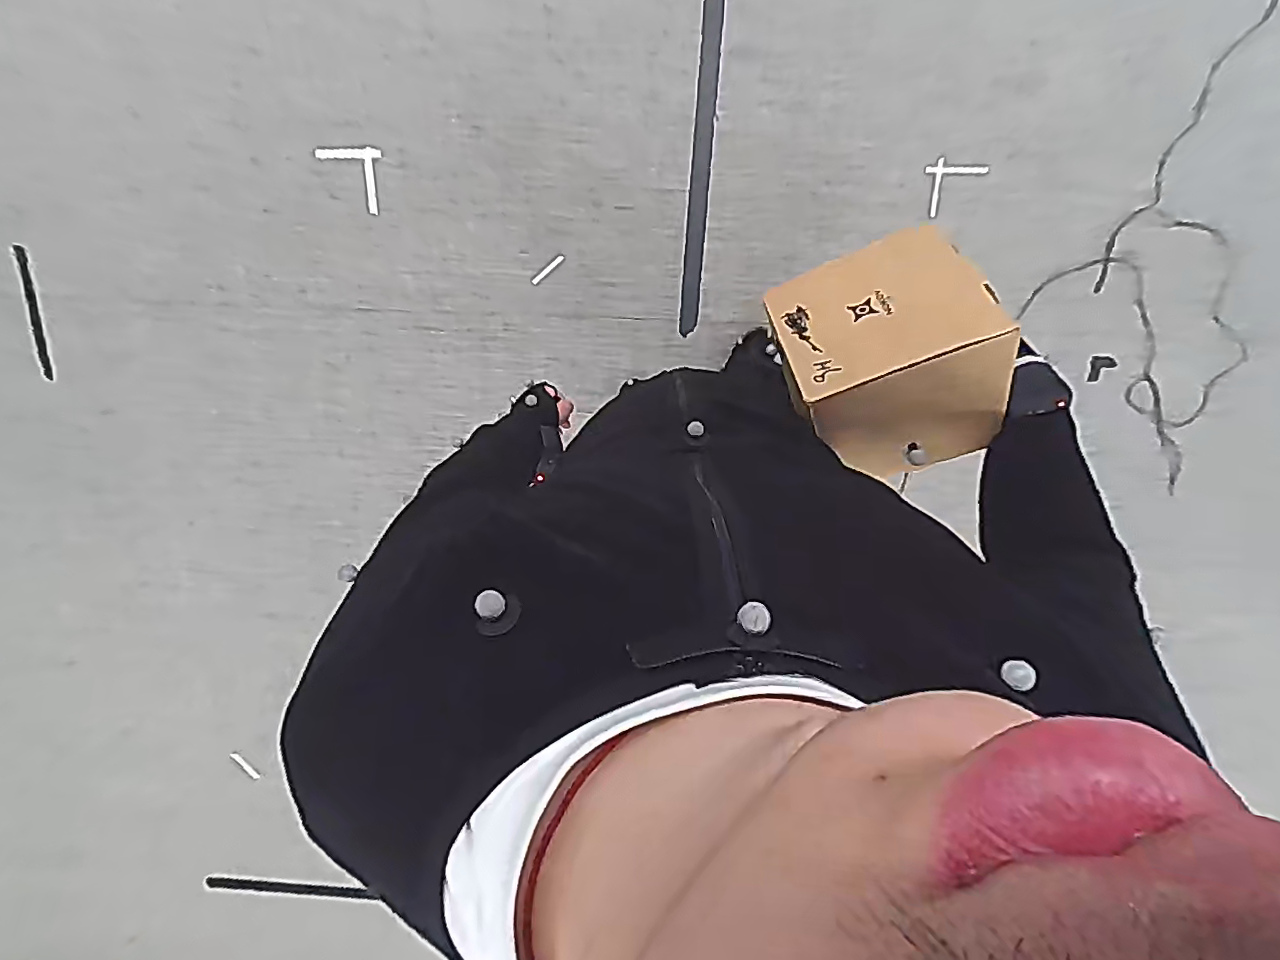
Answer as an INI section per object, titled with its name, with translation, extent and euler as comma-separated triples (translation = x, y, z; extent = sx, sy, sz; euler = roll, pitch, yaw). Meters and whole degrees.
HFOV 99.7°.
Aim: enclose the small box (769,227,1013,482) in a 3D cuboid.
[small box]
translation = 0.256, -0.124, 0.580
extent = 0.179, 0.168, 0.176
euler = -19, 142, 15
